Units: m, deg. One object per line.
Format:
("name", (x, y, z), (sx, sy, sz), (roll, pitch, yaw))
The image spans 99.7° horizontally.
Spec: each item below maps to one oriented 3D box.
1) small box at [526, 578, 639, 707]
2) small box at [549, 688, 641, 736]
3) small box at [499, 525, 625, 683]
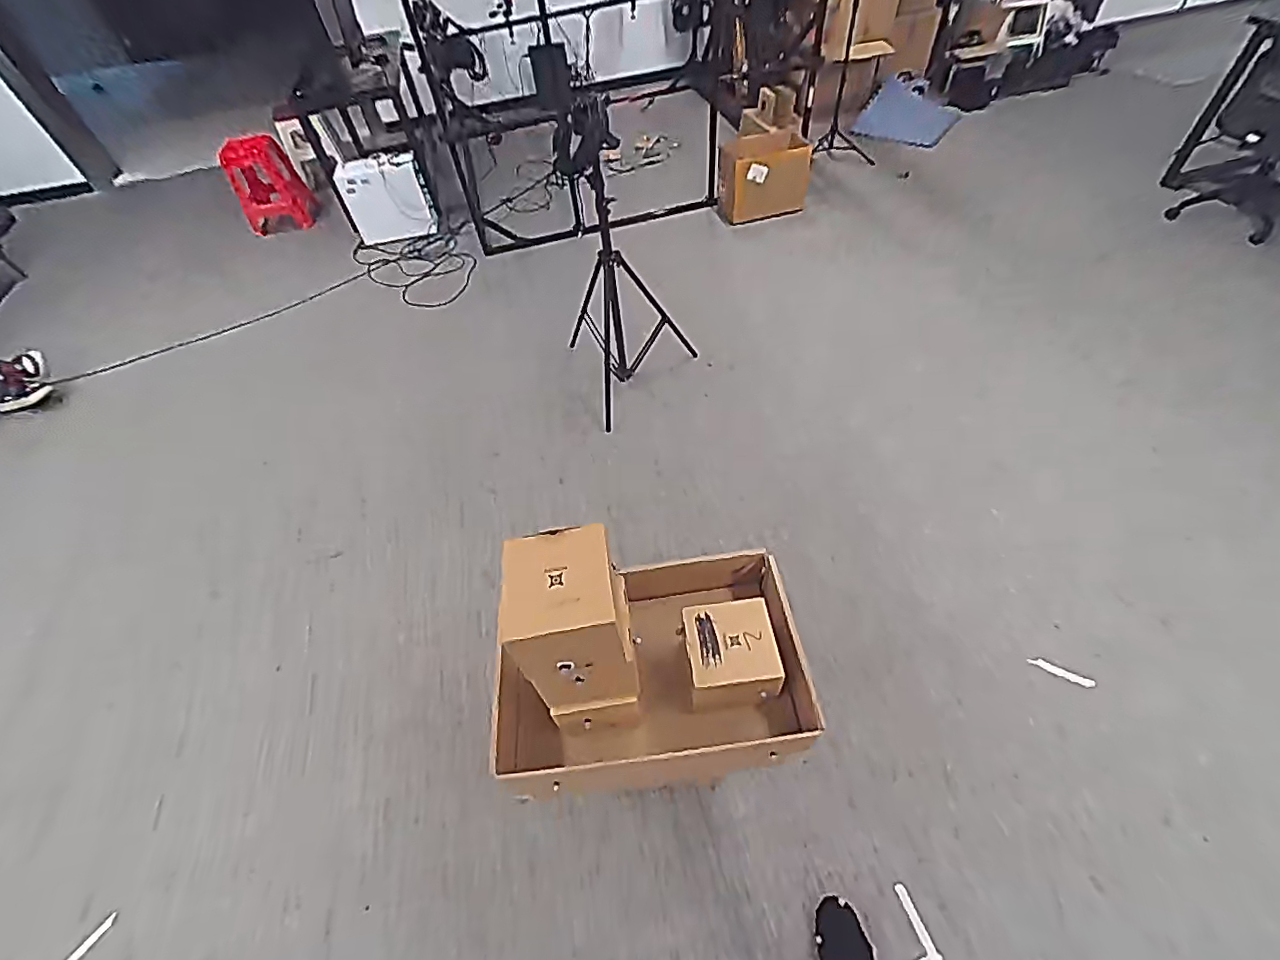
("small box", (-0.102, 0.302, 0.992), (0.179, 0.176, 0.168), (-8, 51, -1))
("small box", (-0.093, 0.412, 1.114), (0.168, 0.176, 0.179), (-9, 50, -2))
("small box", (-0.120, 0.200, 0.865), (0.168, 0.176, 0.179), (-10, 50, -1))
